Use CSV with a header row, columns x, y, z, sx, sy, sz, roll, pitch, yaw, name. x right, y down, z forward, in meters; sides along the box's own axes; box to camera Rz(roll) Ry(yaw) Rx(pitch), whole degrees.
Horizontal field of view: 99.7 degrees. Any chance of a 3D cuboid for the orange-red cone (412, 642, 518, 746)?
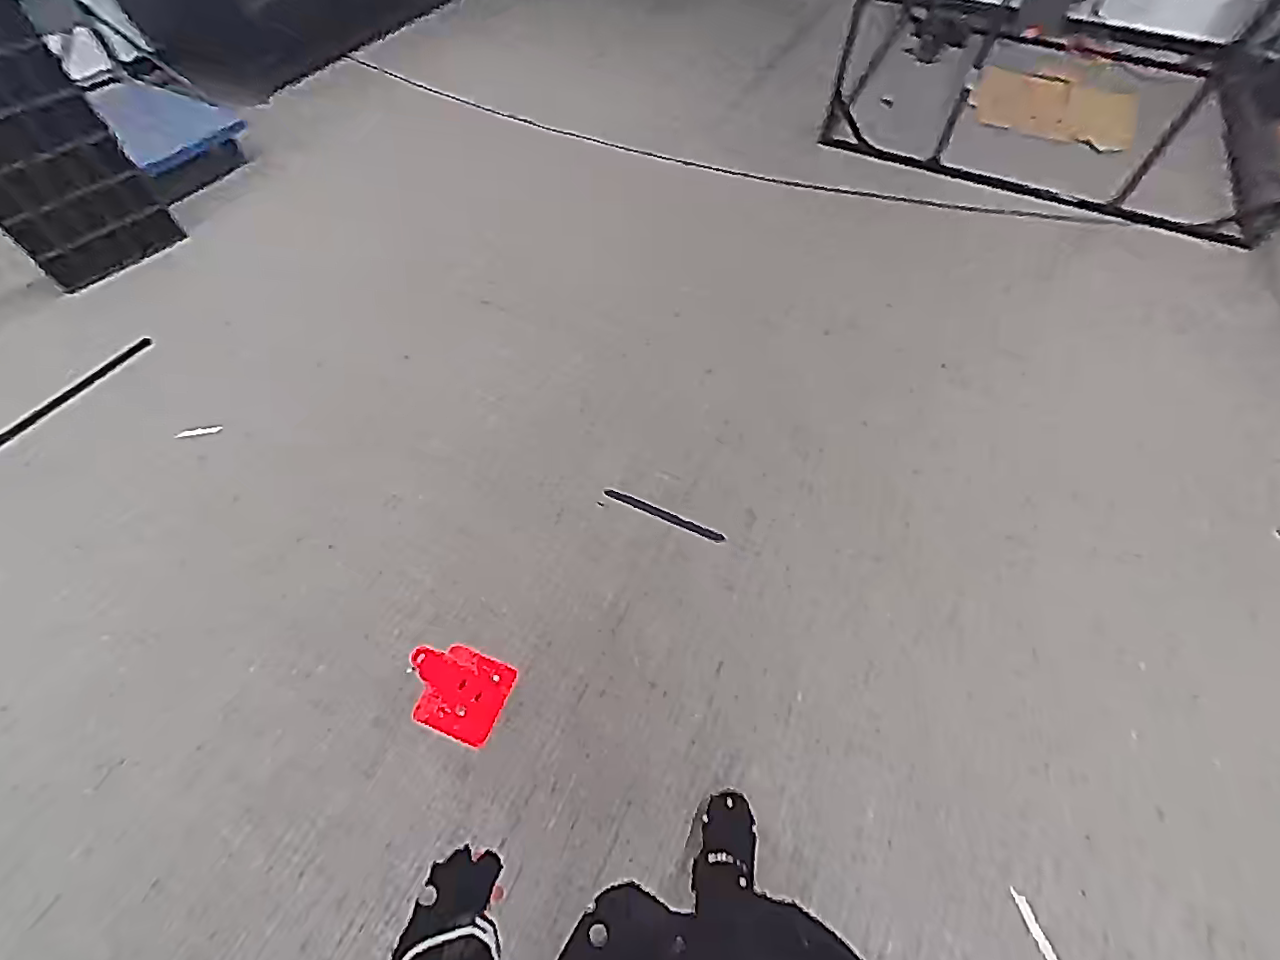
x,y,z,sx,sy,sz,roll,pitch,yaw,name
-0.427,0.432,1.195,0.199,0.360,0.198,19,58,13,orange-red cone
